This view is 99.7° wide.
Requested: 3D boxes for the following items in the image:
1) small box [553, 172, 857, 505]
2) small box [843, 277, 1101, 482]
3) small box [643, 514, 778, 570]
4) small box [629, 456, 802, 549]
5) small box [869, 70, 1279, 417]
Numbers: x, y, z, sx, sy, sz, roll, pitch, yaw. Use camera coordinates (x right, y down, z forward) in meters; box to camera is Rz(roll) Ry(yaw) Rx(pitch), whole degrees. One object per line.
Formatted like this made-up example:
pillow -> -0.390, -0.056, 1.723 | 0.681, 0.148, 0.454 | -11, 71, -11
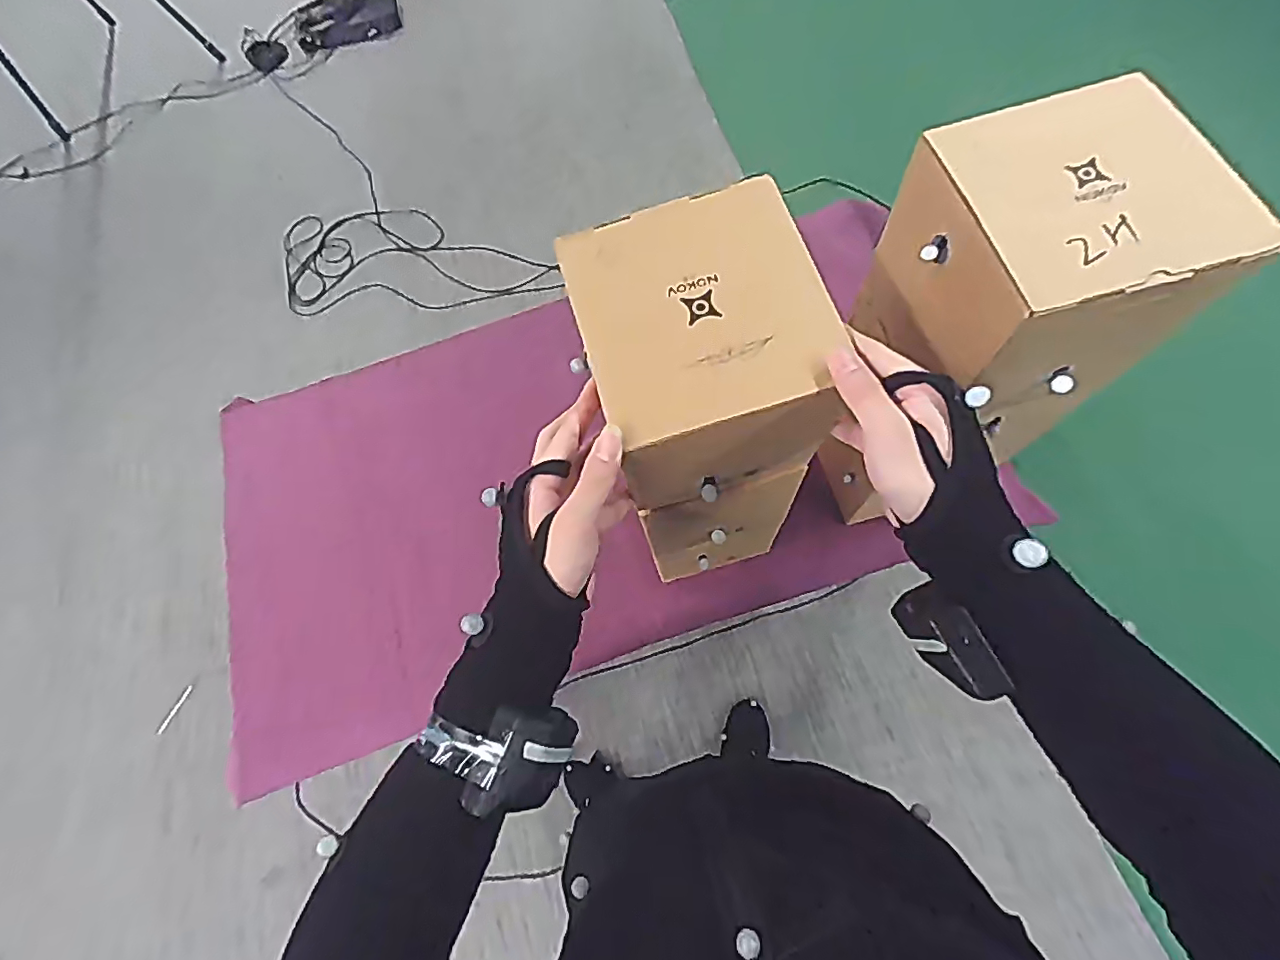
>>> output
small box -> 0.042, -0.098, 0.438 | 0.168, 0.176, 0.179 | -17, 73, 0
small box -> 0.333, -0.120, 0.598 | 0.168, 0.176, 0.179 | -15, 68, 3
small box -> 0.080, 0.018, 0.758 | 0.168, 0.176, 0.179 | -17, 68, 1
small box -> 0.061, -0.041, 0.605 | 0.168, 0.176, 0.179 | -16, 69, 1
small box -> 0.313, -0.178, 0.445 | 0.168, 0.176, 0.179 | -14, 70, 2
